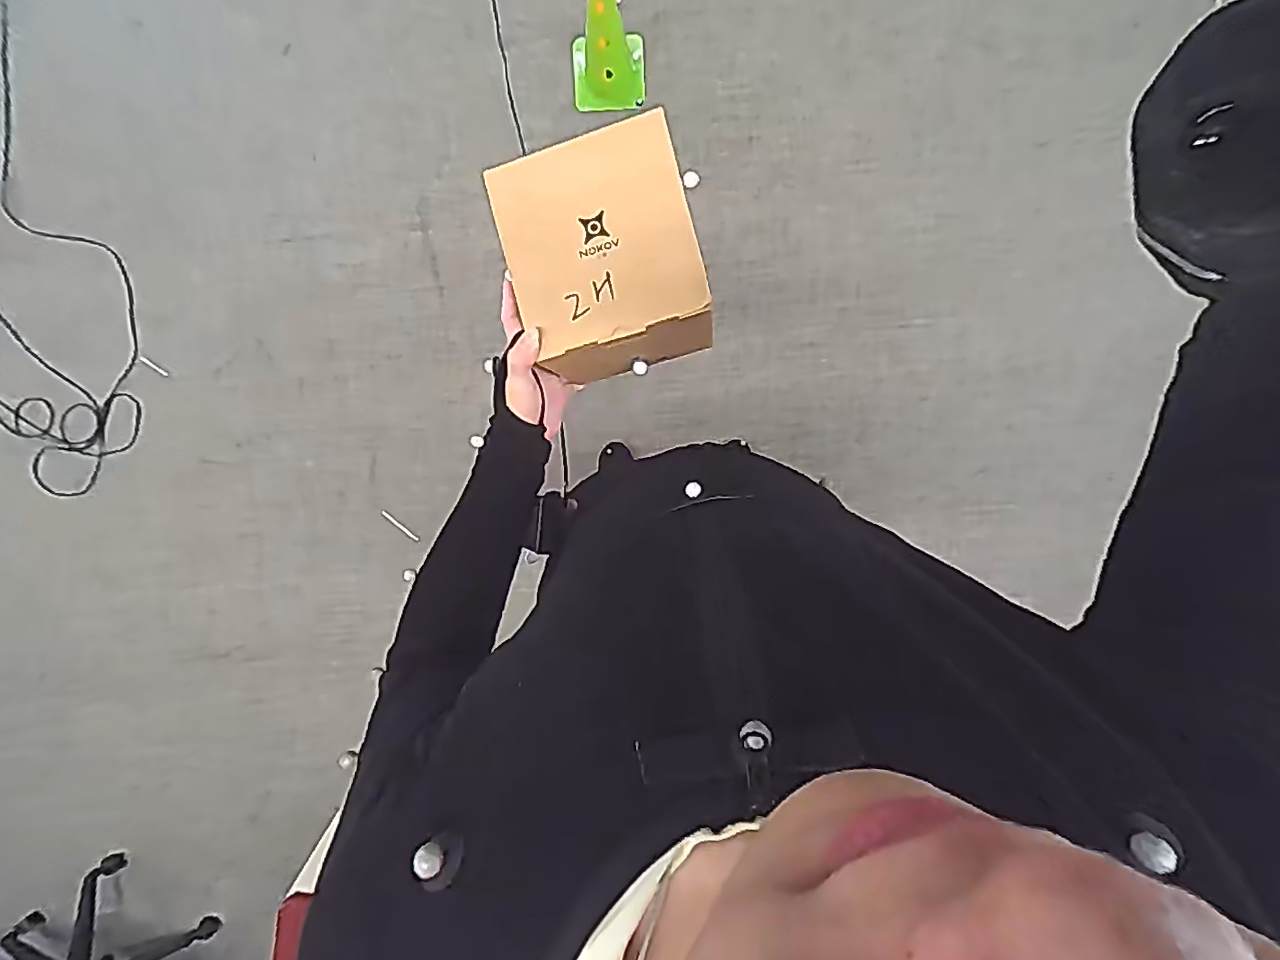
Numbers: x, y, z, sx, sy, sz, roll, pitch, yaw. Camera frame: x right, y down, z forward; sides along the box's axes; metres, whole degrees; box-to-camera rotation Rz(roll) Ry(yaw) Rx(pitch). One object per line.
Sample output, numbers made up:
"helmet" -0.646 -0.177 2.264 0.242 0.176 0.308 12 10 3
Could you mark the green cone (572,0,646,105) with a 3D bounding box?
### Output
"green cone" -0.093 -1.149 1.341 0.202 0.368 0.200 -3 93 2
